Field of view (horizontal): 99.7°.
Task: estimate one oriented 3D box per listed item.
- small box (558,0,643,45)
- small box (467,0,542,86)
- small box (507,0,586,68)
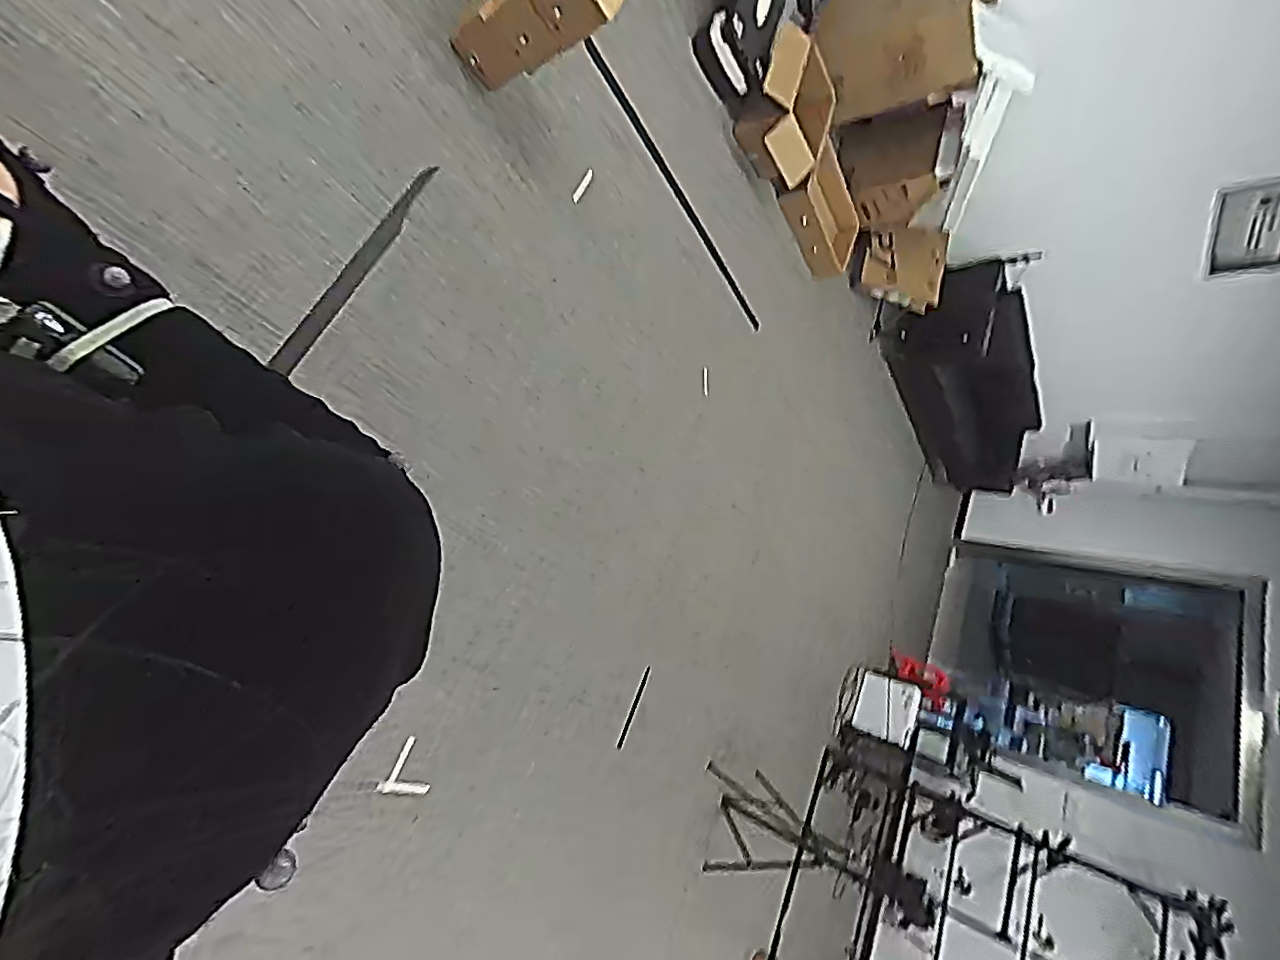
[{"bbox_3d":[-0.092,-1.223,1.312,0.168,0.176,0.179,38,67,-43],"label":"small box"},{"bbox_3d":[-0.353,-1.263,1.511,0.168,0.176,0.179,33,72,-45],"label":"small box"},{"bbox_3d":[-0.221,-1.238,1.415,0.168,0.176,0.179,32,72,-45],"label":"small box"}]
